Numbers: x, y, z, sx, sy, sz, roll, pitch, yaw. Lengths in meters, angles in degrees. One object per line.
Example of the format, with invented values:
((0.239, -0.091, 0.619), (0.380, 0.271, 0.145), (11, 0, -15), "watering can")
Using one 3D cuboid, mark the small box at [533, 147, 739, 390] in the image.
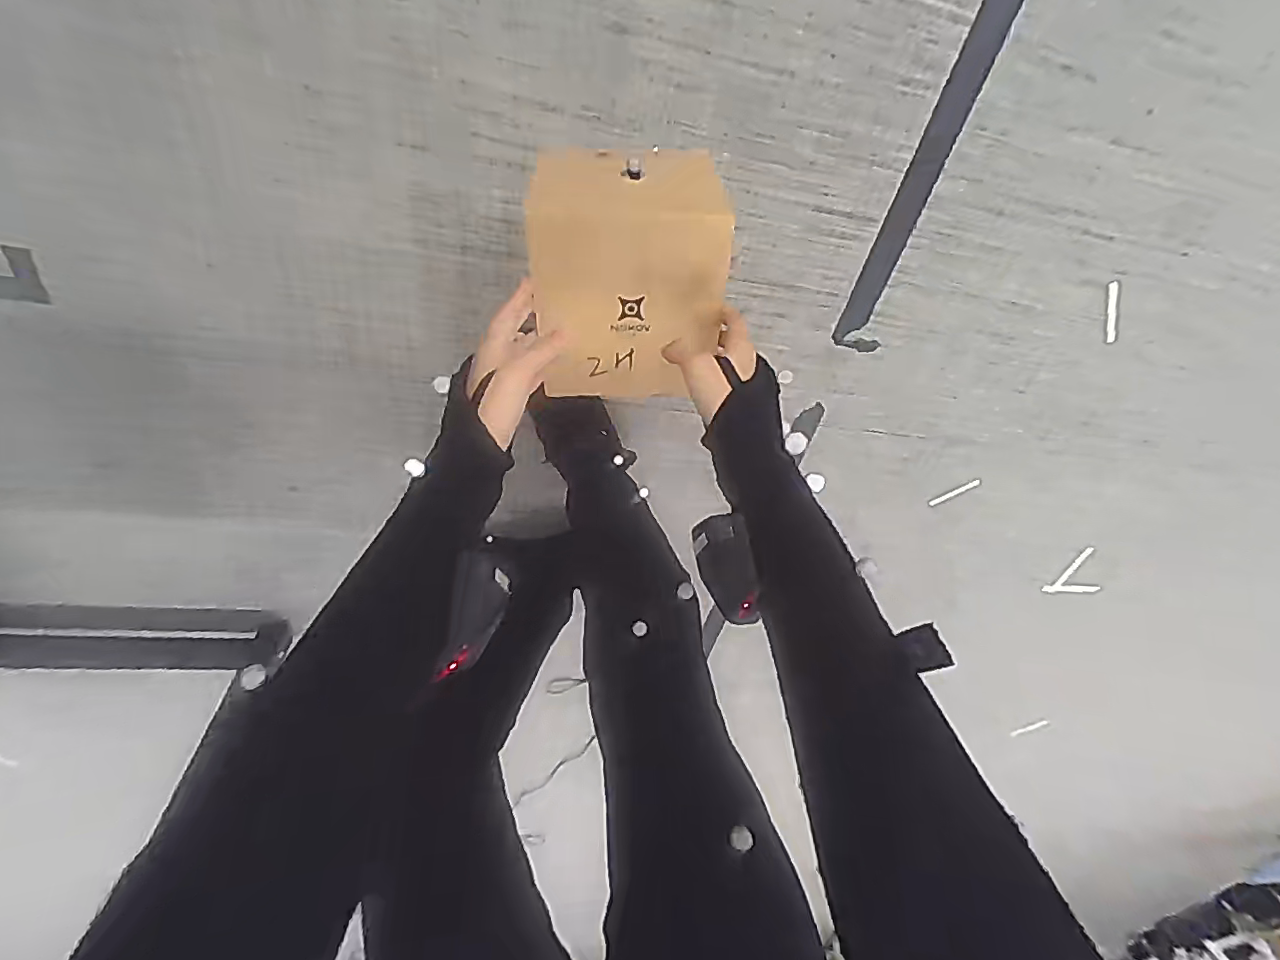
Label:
((-0.010, -0.208, 0.531), (0.168, 0.176, 0.179), (-1, 137, -3), "small box")
